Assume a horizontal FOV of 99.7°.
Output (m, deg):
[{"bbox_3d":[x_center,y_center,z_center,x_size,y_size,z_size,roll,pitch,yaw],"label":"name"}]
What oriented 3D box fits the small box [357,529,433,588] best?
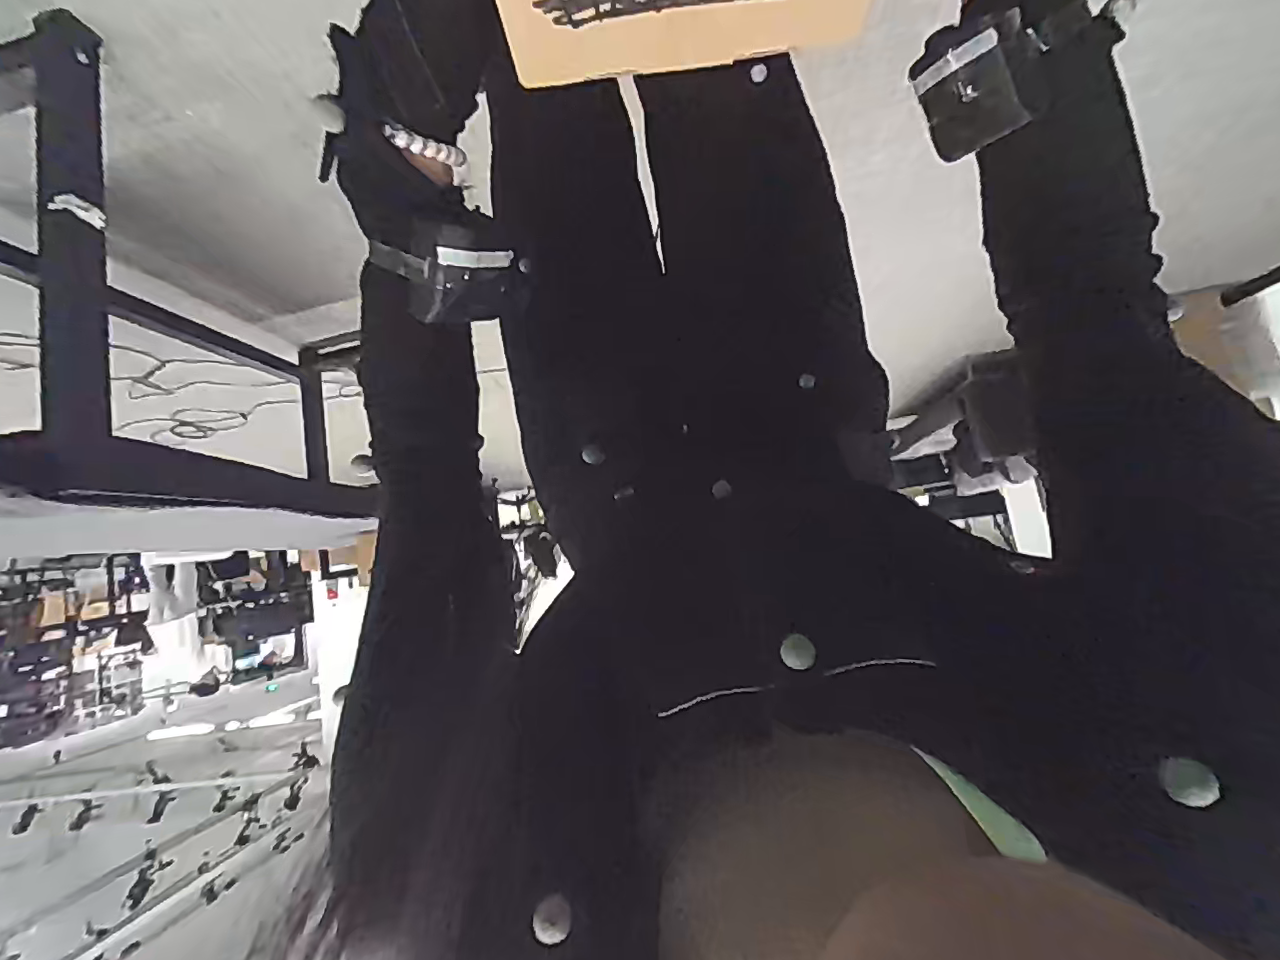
[{"bbox_3d":[-0.800,0.257,1.769,0.179,0.176,0.168,-8,172,5],"label":"small box"}]
